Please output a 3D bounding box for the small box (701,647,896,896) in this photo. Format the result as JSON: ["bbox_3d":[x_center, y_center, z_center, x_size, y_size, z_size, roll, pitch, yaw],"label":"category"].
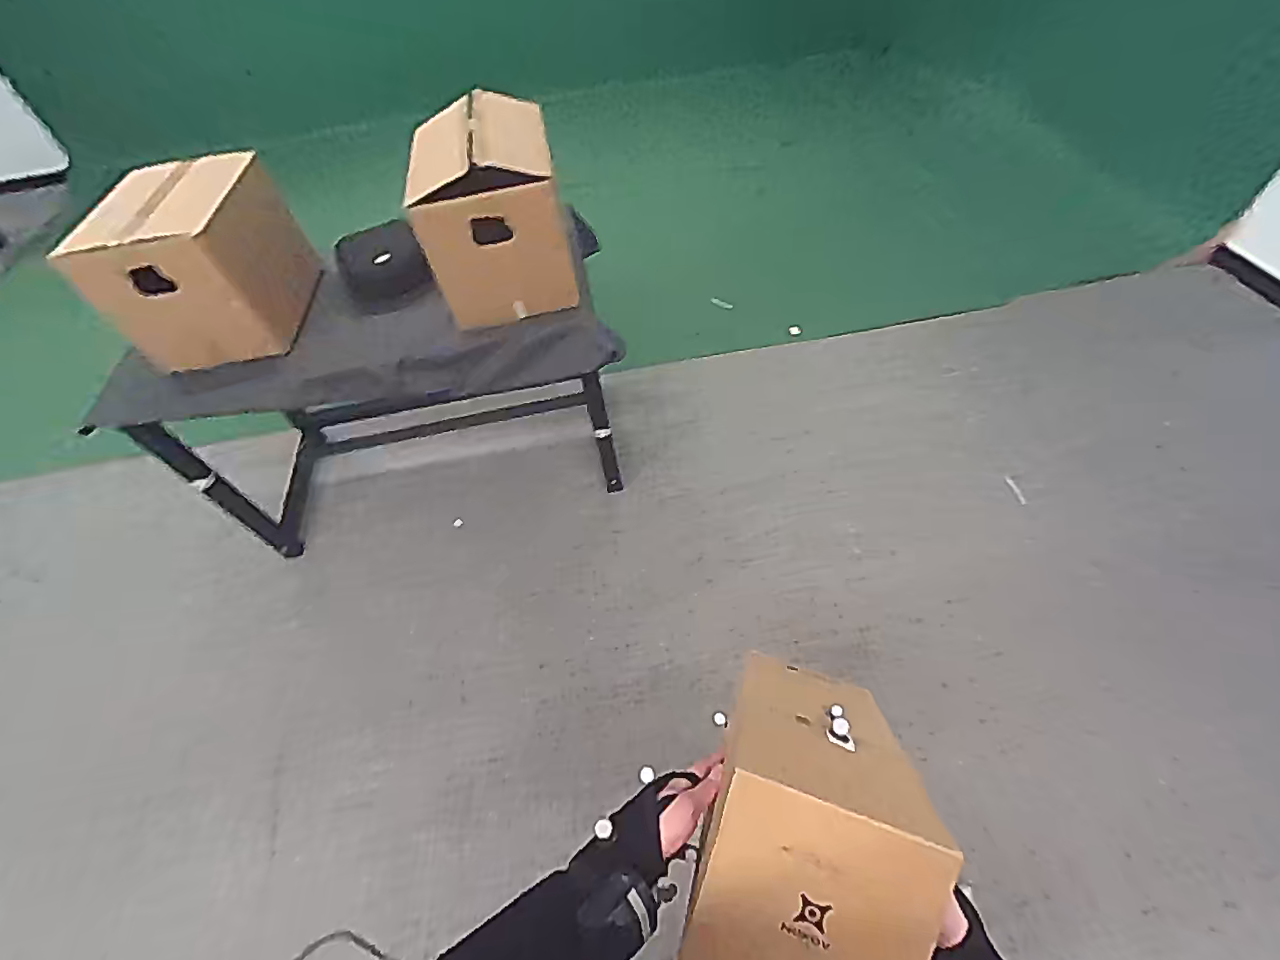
[{"bbox_3d":[0.182,0.328,0.649,0.168,0.176,0.179,15,93,12],"label":"small box"}]
